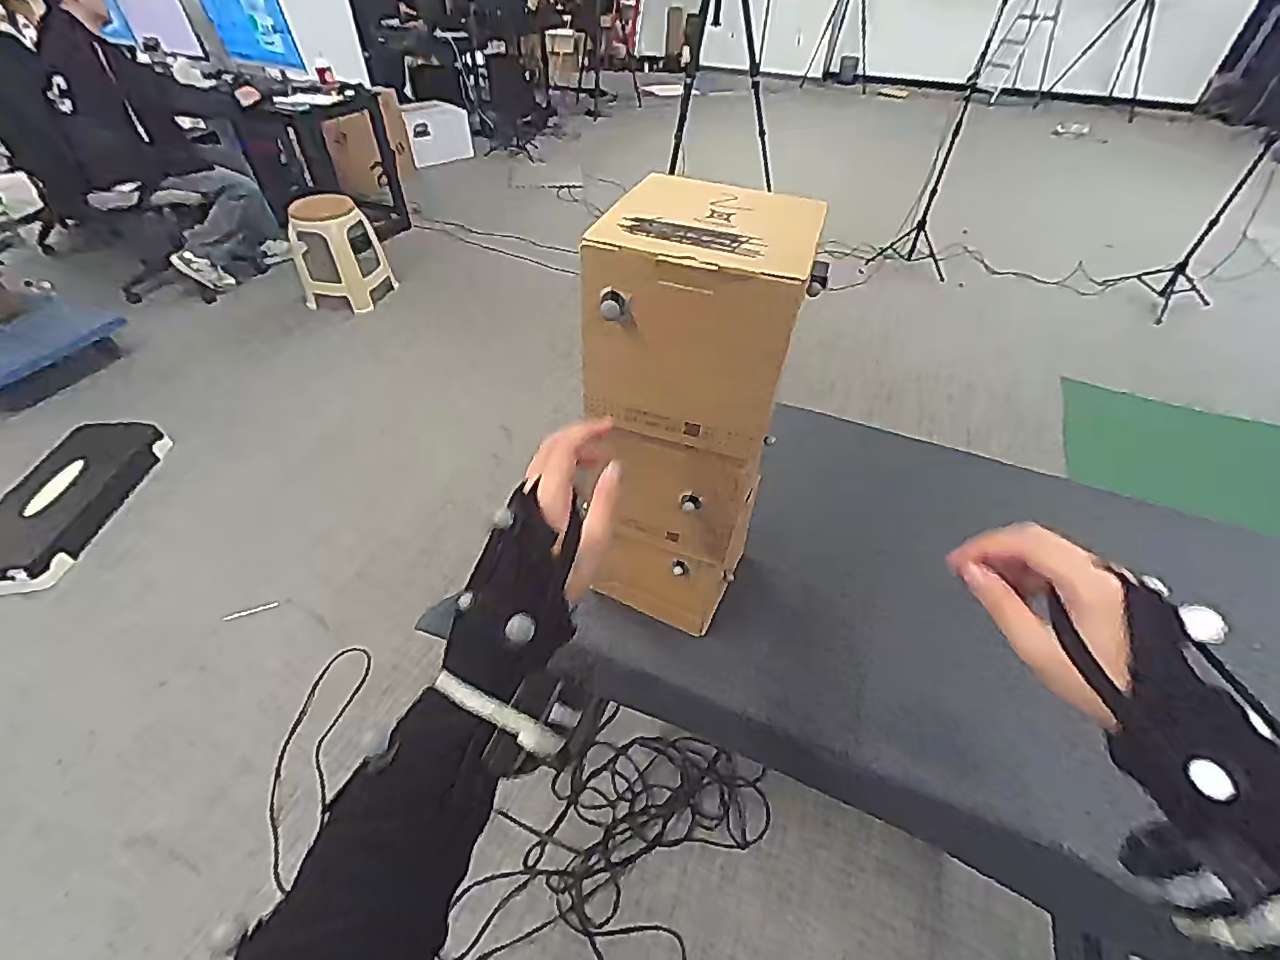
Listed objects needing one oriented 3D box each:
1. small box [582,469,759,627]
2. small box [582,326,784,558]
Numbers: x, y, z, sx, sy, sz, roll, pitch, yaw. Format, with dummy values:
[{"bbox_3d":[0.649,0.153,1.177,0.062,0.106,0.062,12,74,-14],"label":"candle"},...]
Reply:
[{"bbox_3d":[0.039,0.067,0.728,0.179,0.176,0.168,21,48,17],"label":"small box"},{"bbox_3d":[0.047,-0.042,0.608,0.168,0.176,0.179,18,46,12],"label":"small box"}]
